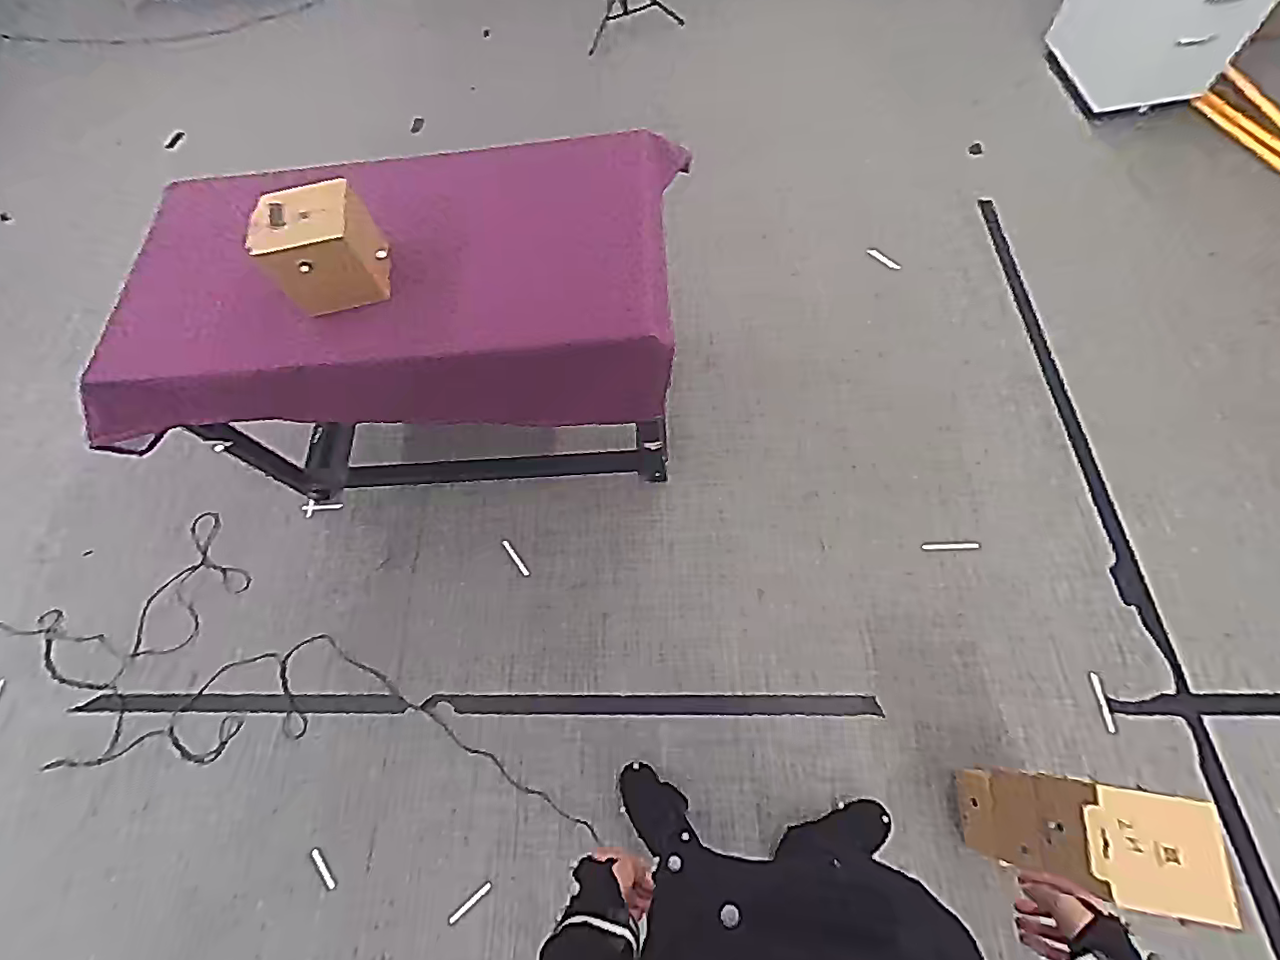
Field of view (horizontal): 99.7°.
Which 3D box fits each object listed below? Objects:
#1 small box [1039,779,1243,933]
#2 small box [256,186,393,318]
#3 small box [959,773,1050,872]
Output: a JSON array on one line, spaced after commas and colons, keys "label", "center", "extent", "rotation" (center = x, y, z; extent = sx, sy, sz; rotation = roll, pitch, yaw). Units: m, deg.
[{"label": "small box", "center": [0.817, 0.611, 0.904], "extent": [0.179, 0.176, 0.168], "rotation": [6, 67, 9]}, {"label": "small box", "center": [-0.631, -0.455, 1.100], "extent": [0.179, 0.176, 0.168], "rotation": [-13, 65, 0]}, {"label": "small box", "center": [0.836, 0.754, 1.202], "extent": [0.179, 0.176, 0.168], "rotation": [1, 66, 6]}]
